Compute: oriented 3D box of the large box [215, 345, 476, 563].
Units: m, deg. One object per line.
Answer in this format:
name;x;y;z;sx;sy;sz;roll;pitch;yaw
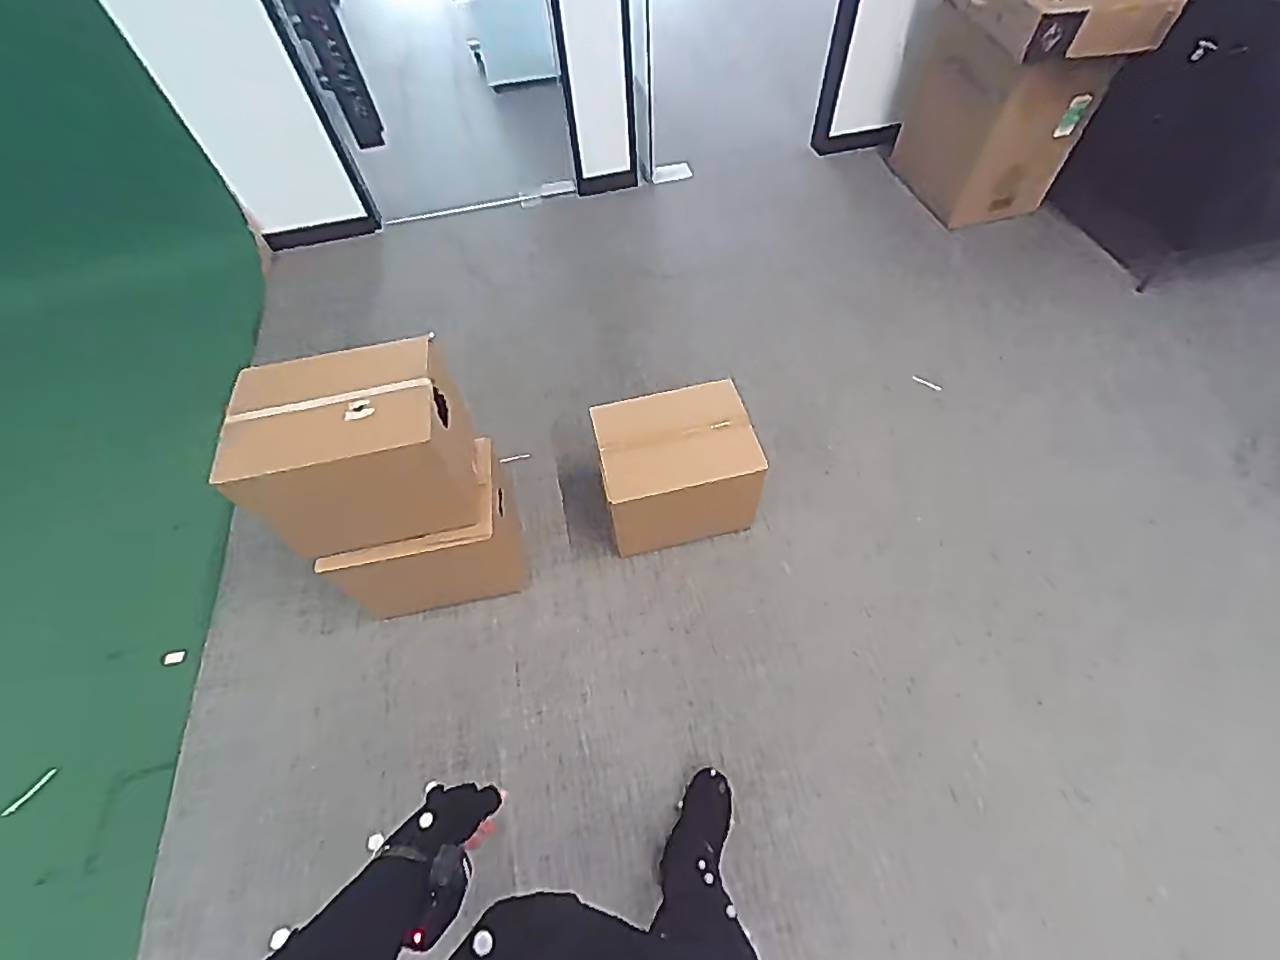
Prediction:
large box;-0.611;-0.054;1.211;0.408;0.320;0.320;-11;53;-5
